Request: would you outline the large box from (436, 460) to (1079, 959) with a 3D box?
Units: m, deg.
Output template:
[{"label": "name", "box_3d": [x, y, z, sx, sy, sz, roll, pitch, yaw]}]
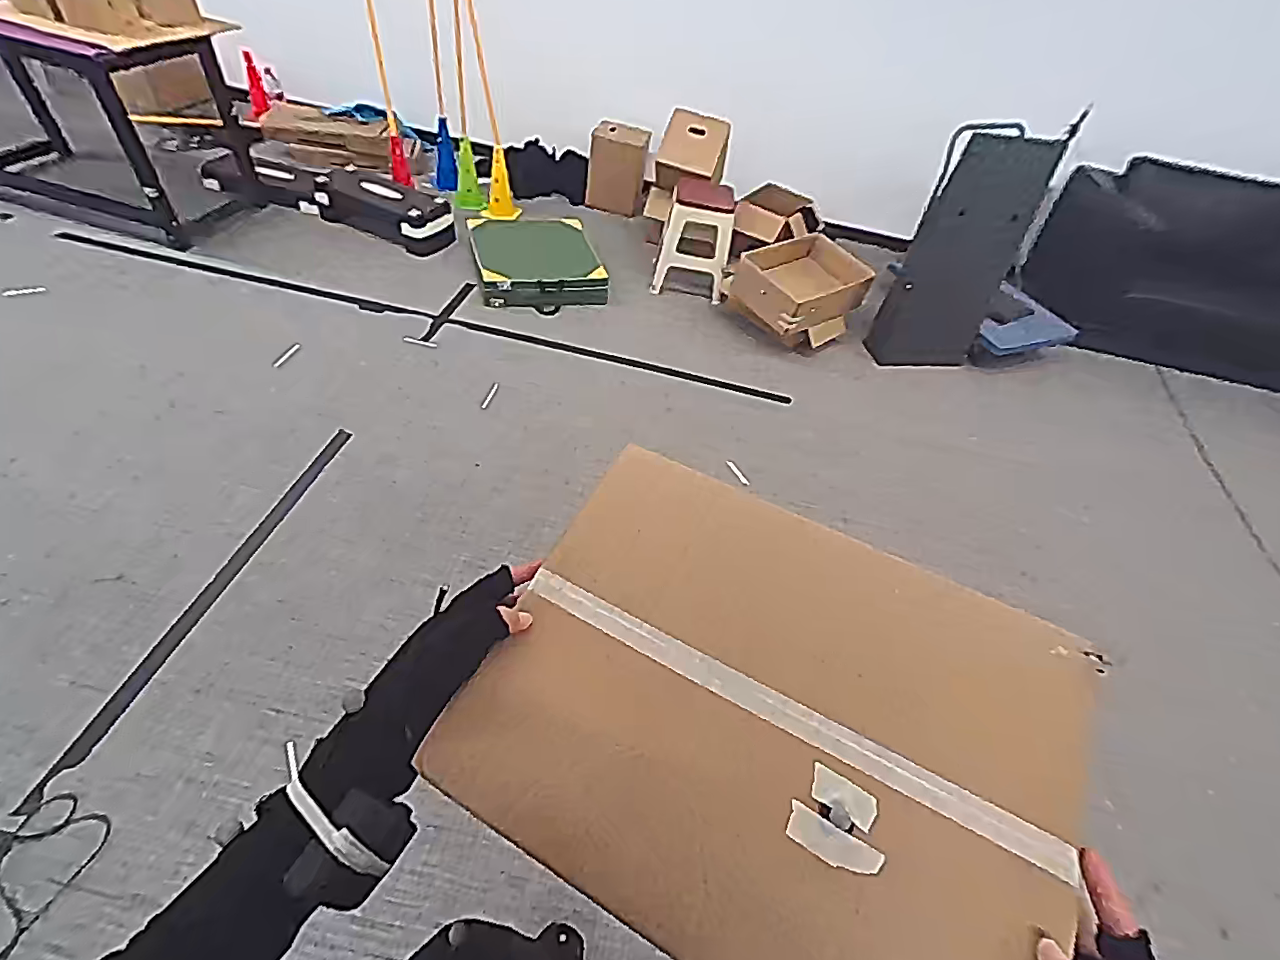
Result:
[{"label": "large box", "box_3d": [0.097, 0.246, 0.530, 0.408, 0.320, 0.320, 25, 63, 16]}]
